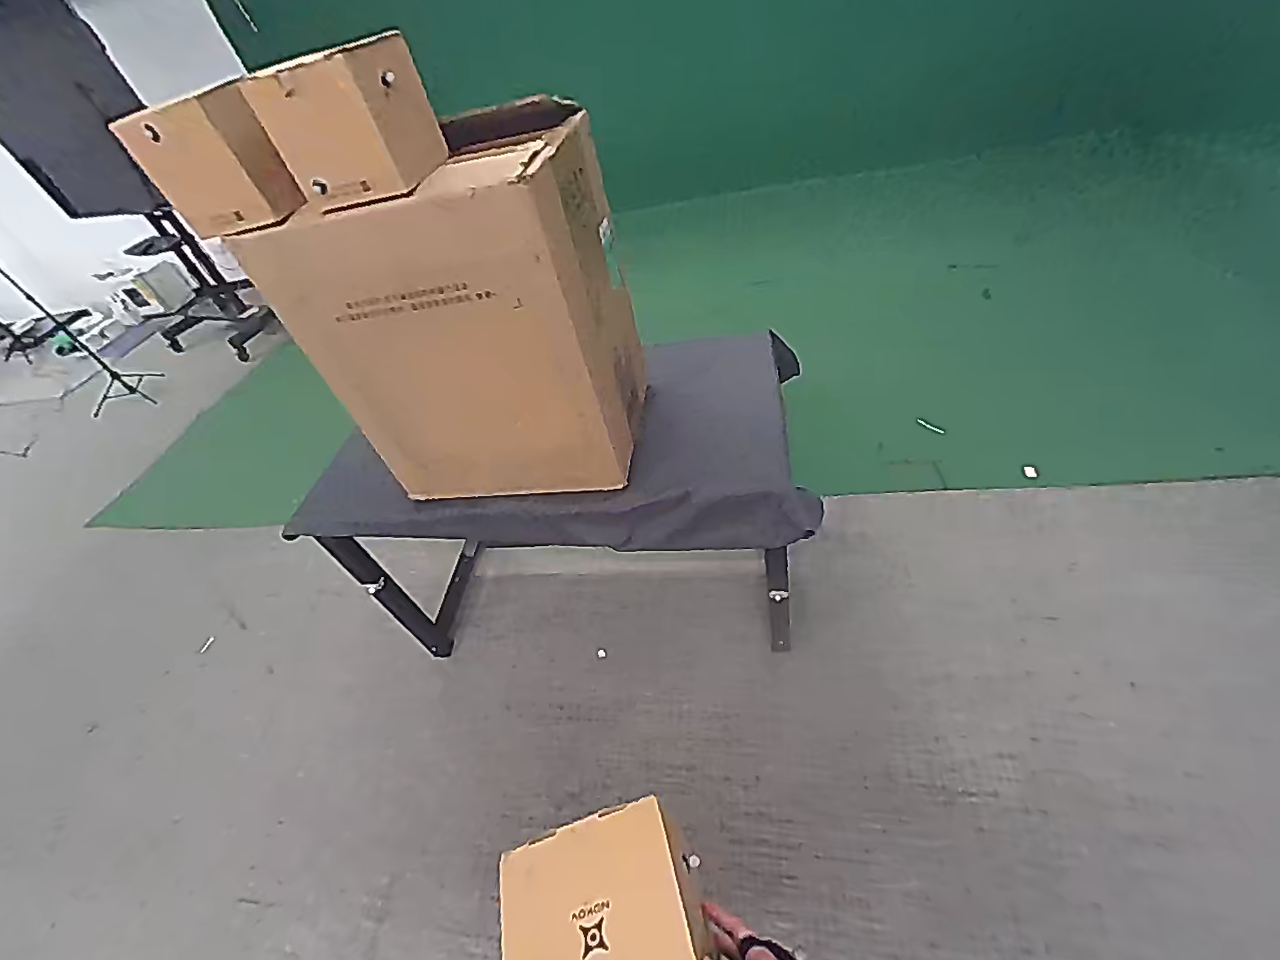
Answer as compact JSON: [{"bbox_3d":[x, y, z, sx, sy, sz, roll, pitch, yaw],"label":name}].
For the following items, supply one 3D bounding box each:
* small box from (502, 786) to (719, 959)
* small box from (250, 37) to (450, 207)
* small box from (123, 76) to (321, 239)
[{"bbox_3d":[-0.022,0.439,0.519,0.168,0.176,0.179,-20,40,-1],"label":"small box"},{"bbox_3d":[-0.413,-0.526,0.809,0.168,0.176,0.179,-3,45,13],"label":"small box"},{"bbox_3d":[-0.630,-0.509,0.861,0.168,0.176,0.179,-4,44,17],"label":"small box"}]
